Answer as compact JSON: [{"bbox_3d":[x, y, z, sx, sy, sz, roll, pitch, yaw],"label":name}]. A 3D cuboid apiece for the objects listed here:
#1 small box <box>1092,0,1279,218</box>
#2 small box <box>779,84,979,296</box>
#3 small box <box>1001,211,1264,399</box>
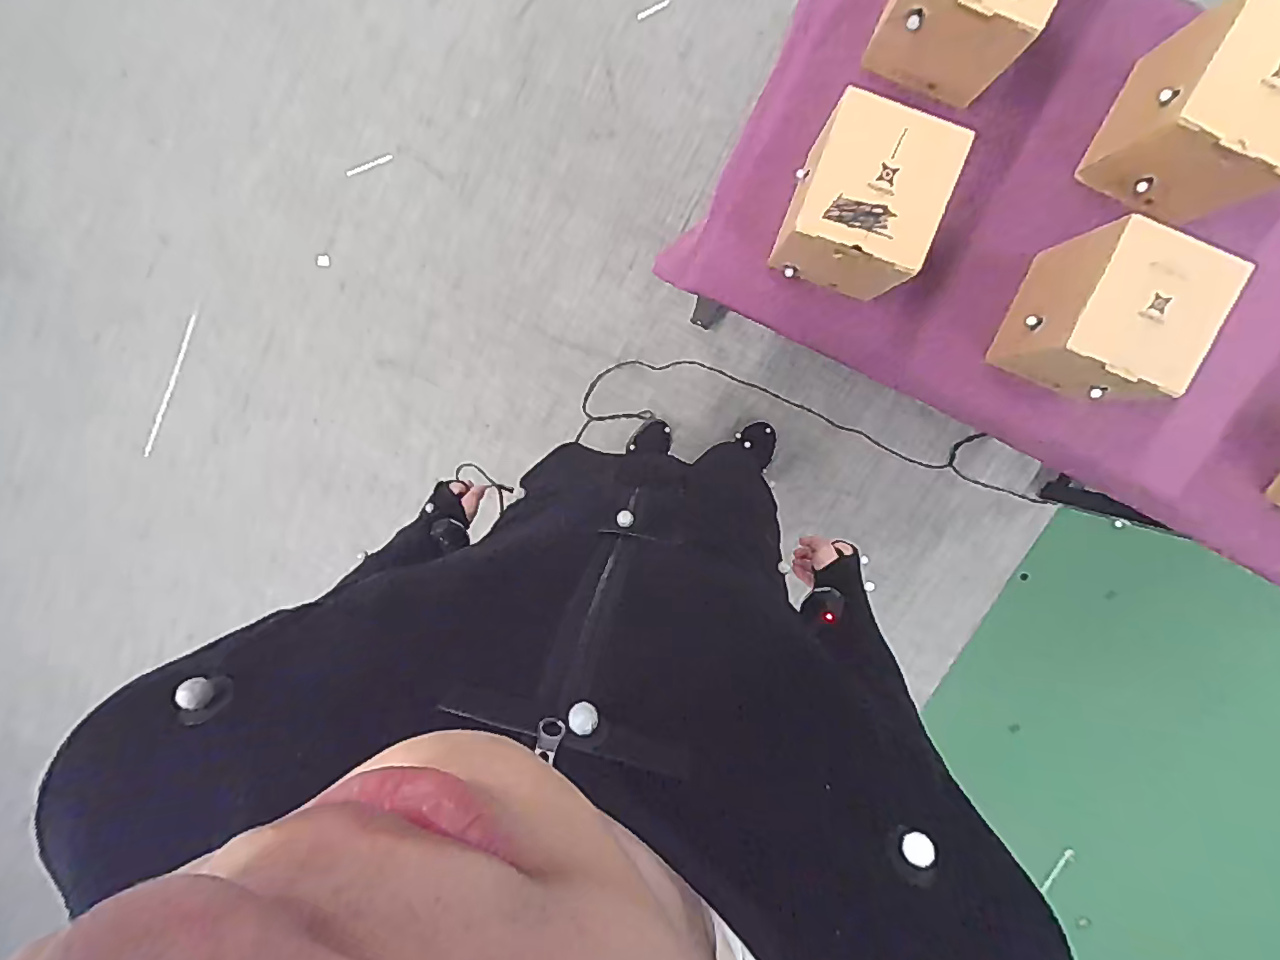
[{"bbox_3d":[0.743,-0.474,0.689,0.168,0.176,0.179,26,100,-1],"label":"small box"},{"bbox_3d":[0.300,-0.368,0.726,0.168,0.176,0.179,20,97,0],"label":"small box"},{"bbox_3d":[0.637,-0.219,0.731,0.168,0.176,0.179,23,98,-1],"label":"small box"}]
